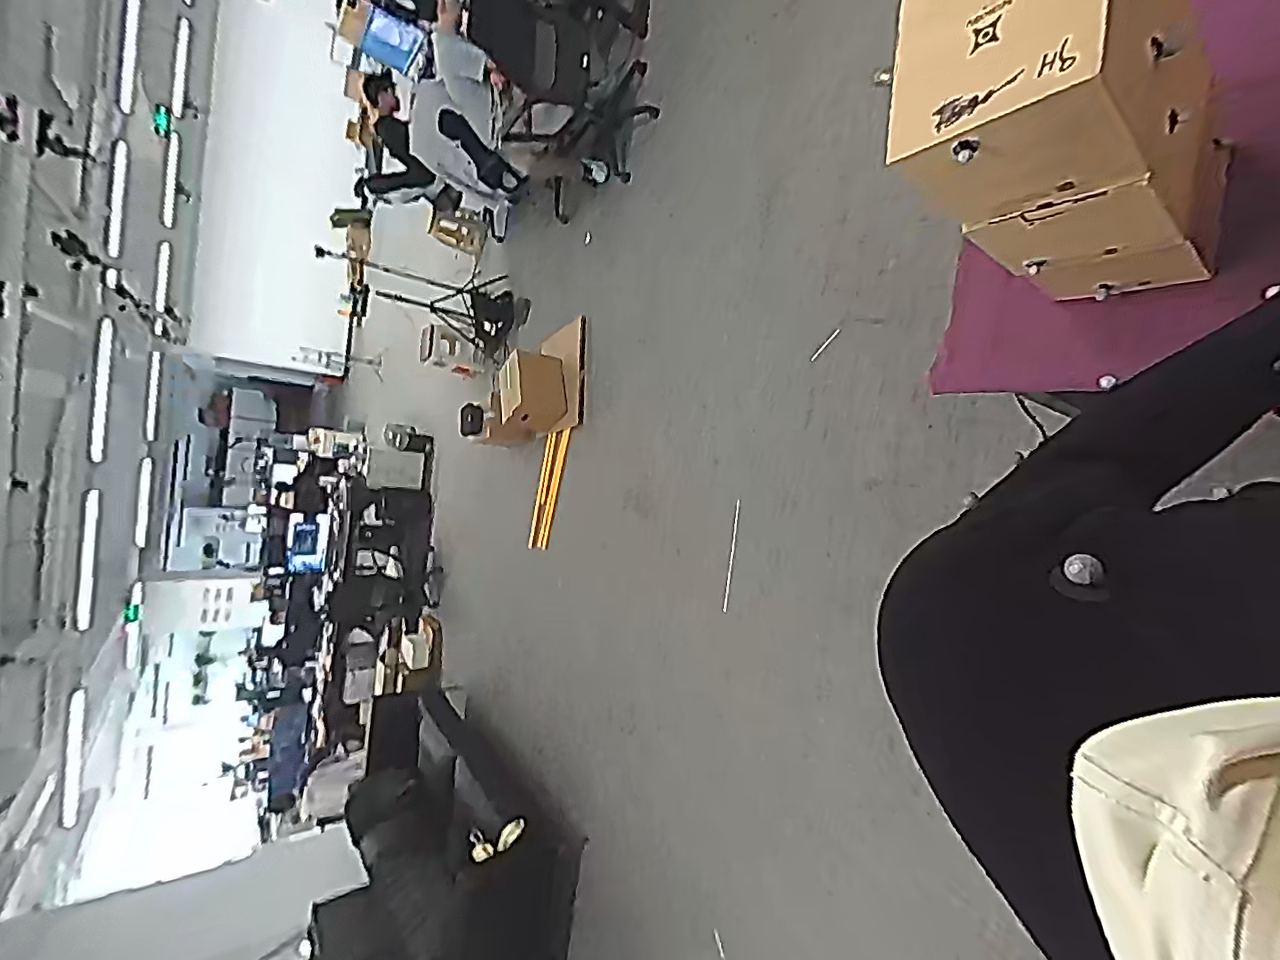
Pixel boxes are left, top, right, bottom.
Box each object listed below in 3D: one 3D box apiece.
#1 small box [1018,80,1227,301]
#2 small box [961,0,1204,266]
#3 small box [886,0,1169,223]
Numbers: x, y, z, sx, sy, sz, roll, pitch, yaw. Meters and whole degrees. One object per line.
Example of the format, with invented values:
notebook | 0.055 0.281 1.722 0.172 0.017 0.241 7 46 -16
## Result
small box | 0.625 -0.353 0.701 0.168 0.176 0.179 8 92 54
small box | 0.492 -0.357 0.604 0.168 0.176 0.179 7 90 54
small box | 0.362 -0.378 0.507 0.168 0.176 0.179 7 90 54
